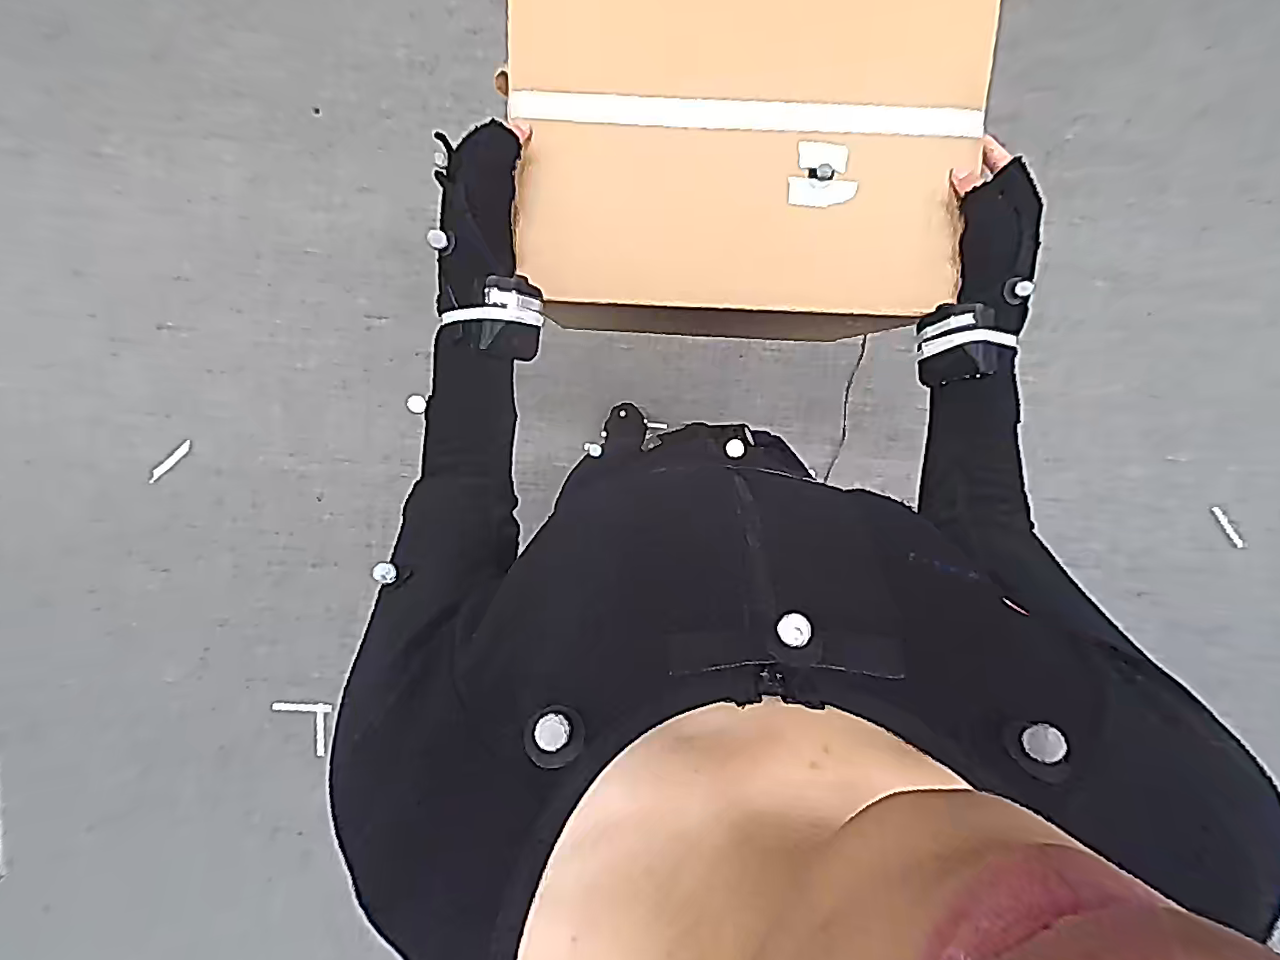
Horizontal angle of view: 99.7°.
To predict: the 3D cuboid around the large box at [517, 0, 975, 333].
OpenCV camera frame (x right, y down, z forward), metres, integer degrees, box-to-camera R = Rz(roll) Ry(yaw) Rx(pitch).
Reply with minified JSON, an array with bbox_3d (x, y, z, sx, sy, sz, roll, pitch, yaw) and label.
[{"bbox_3d":[0.087,-0.345,0.629,0.408,0.320,0.320,2,101,-1],"label":"large box"}]
